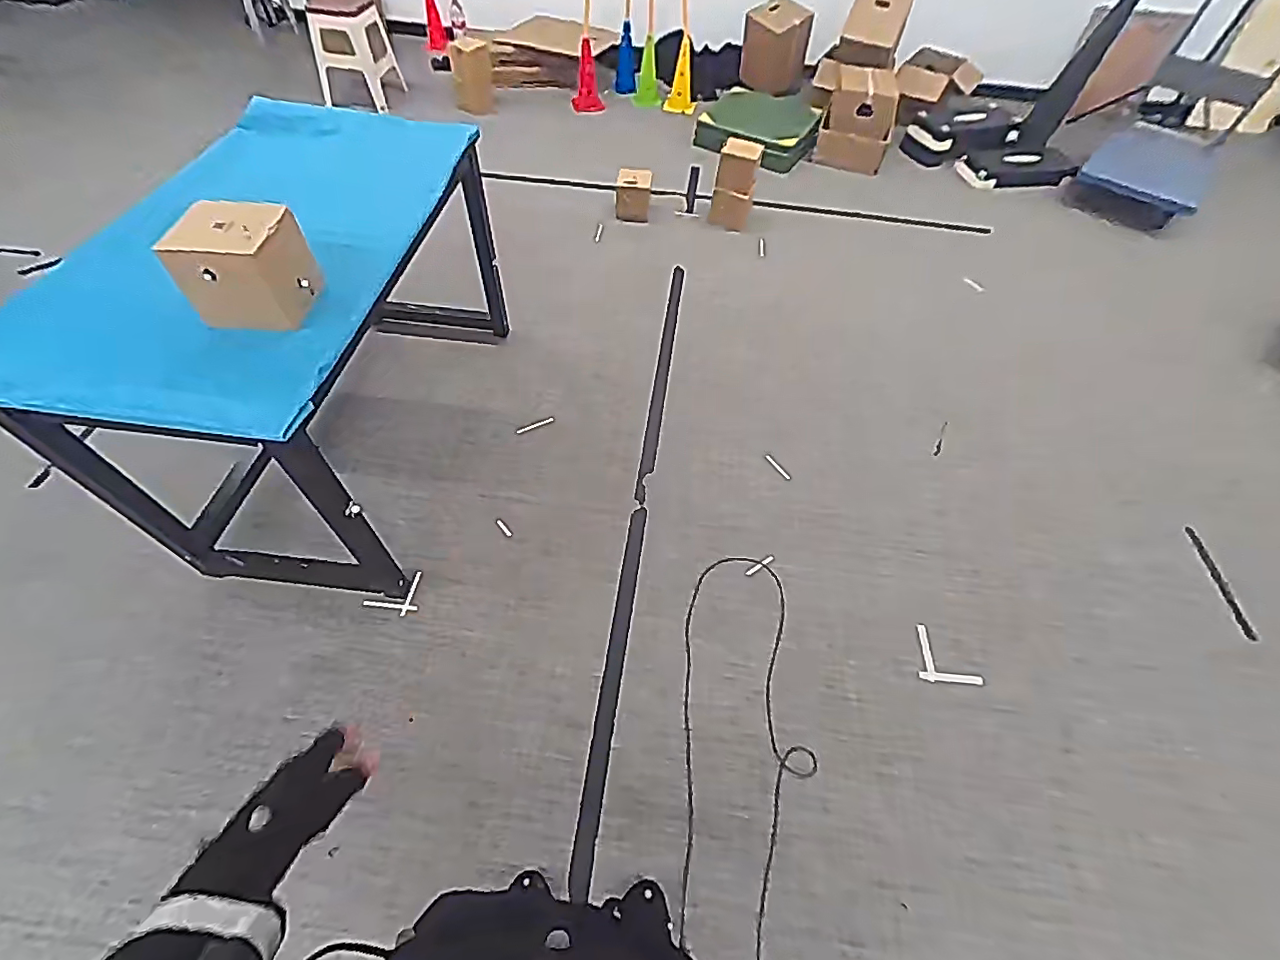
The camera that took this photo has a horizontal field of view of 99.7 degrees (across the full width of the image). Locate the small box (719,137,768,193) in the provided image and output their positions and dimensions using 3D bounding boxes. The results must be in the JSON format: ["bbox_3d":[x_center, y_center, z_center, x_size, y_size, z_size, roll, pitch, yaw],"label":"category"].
[{"bbox_3d":[0.494,-1.512,2.598,0.179,0.176,0.168,20,56,9],"label":"small box"}]

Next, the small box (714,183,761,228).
[{"bbox_3d":[0.485,-1.394,2.716,0.179,0.176,0.168,21,56,10],"label":"small box"}]

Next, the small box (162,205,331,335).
[{"bbox_3d":[-0.747,-0.403,1.051,0.179,0.176,0.168,6,55,-1],"label":"small box"}]

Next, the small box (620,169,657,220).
[{"bbox_3d":[-0.008,-1.428,2.709,0.168,0.176,0.179,6,54,1],"label":"small box"}]
